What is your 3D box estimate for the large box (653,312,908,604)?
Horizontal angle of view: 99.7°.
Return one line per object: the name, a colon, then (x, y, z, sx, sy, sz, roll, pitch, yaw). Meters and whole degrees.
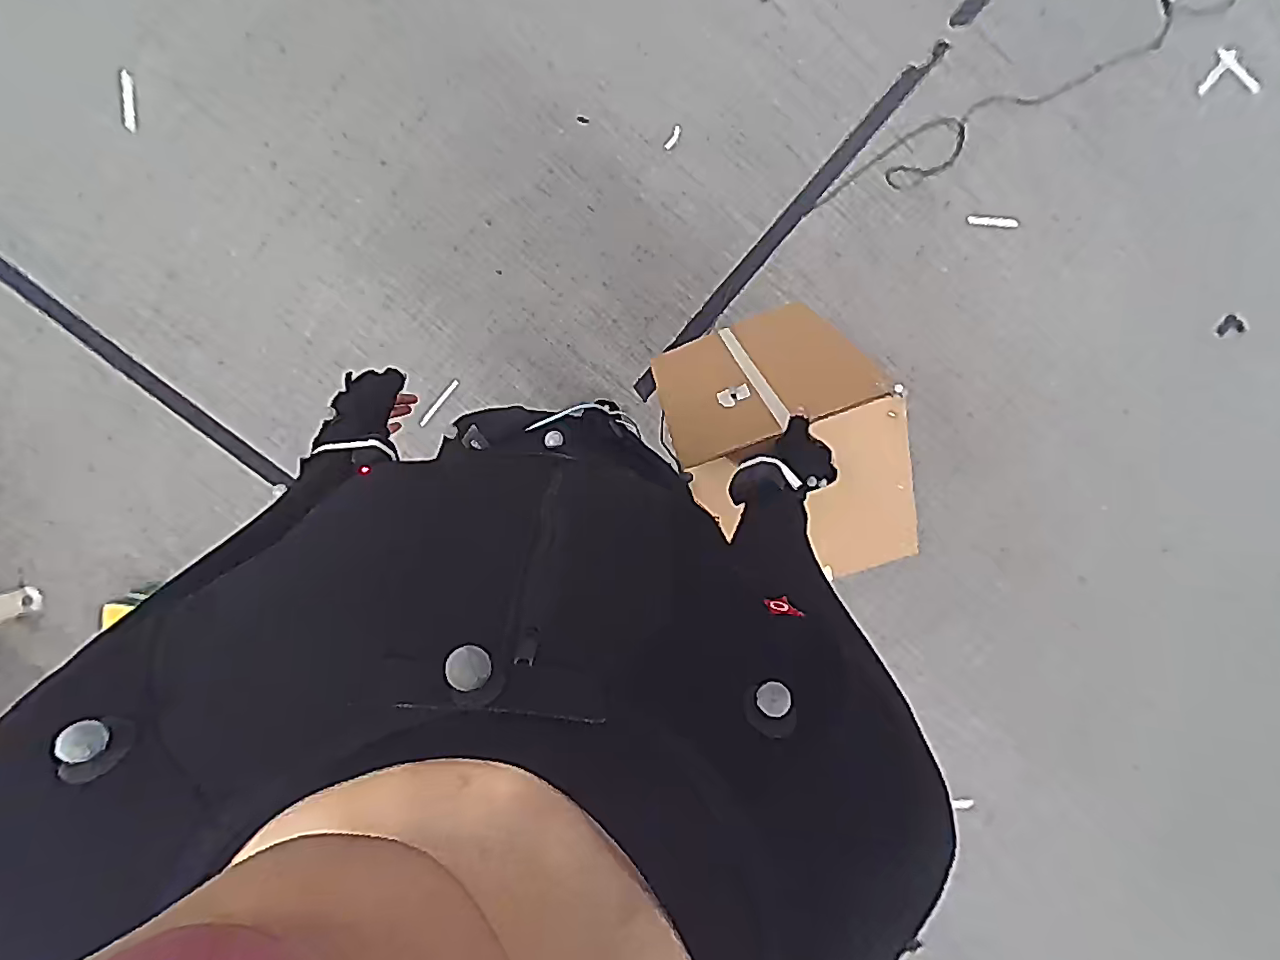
large box: (0.237, -0.056, 0.984, 0.320, 0.408, 0.320, -19, 124, 7)
